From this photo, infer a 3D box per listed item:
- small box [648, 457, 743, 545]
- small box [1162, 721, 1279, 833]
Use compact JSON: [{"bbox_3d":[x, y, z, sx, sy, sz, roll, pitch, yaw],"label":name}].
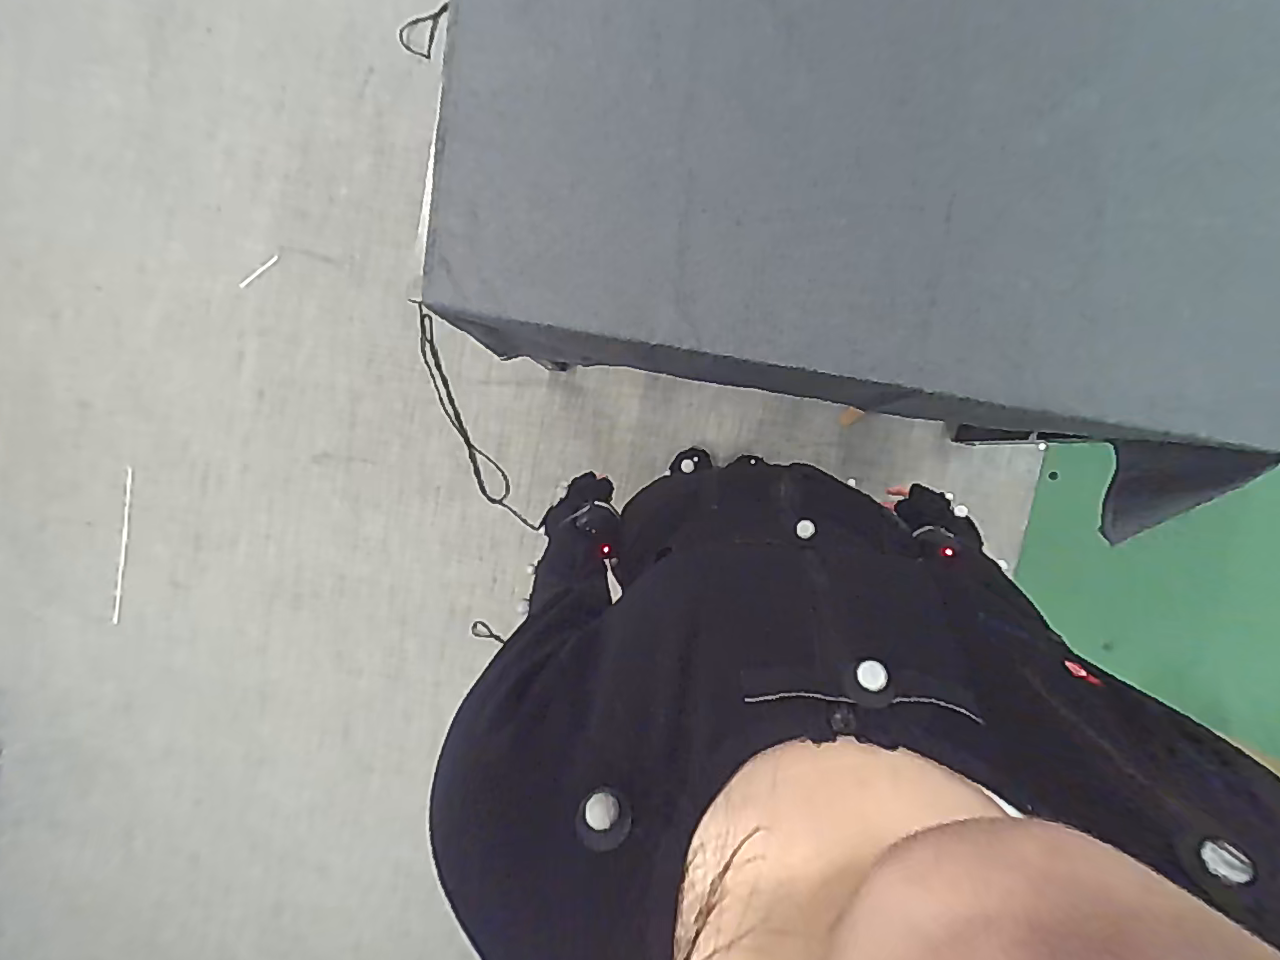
[{"bbox_3d":[0.143,0.052,1.430,0.168,0.176,0.179,-45,73,16],"label":"small box"},{"bbox_3d":[1.474,0.730,1.345,0.179,0.176,0.168,16,94,3],"label":"small box"}]
